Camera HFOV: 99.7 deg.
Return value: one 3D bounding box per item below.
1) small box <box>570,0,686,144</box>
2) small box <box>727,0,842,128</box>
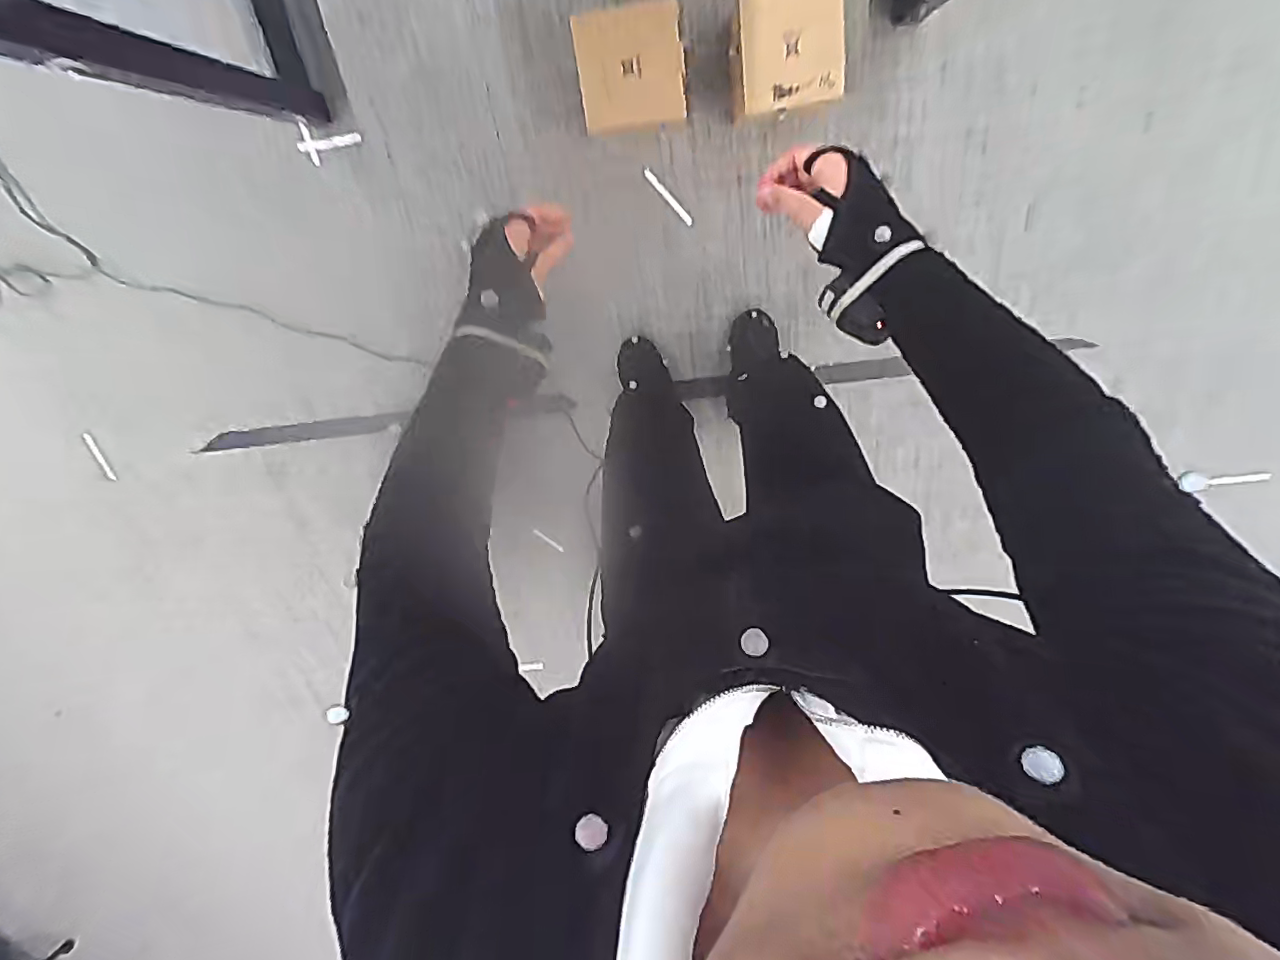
[{"bbox_3d":[-0.014,-0.720,0.971,0.179,0.176,0.168,-6,115,7],"label":"small box"},{"bbox_3d":[0.246,-0.742,0.944,0.168,0.176,0.179,-7,115,7],"label":"small box"}]
